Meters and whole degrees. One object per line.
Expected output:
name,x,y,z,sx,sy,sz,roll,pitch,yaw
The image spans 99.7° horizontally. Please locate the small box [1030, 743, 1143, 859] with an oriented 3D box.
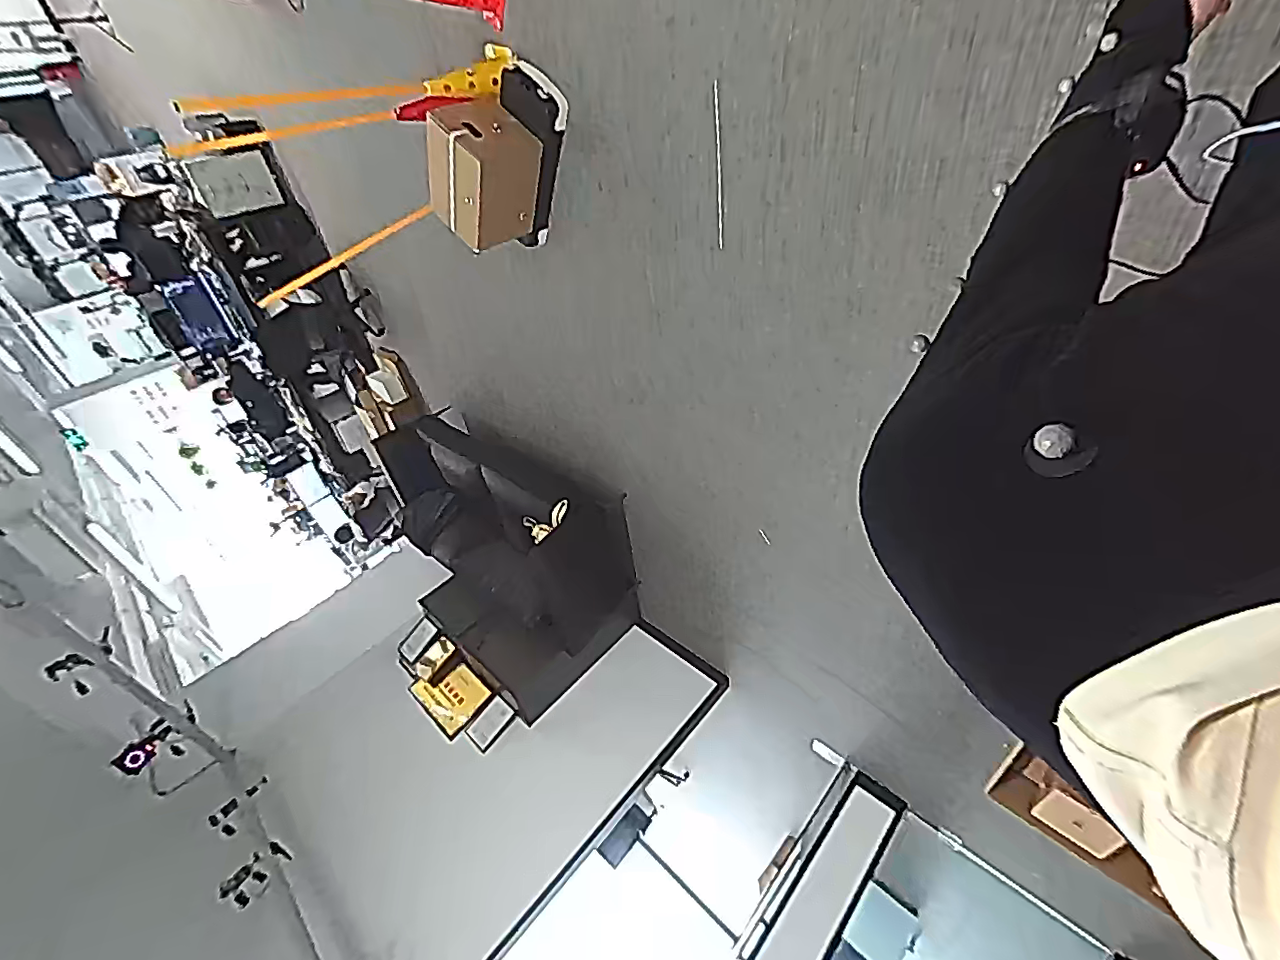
small box,1.179,0.843,1.428,0.168,0.176,0.179,28,140,35
